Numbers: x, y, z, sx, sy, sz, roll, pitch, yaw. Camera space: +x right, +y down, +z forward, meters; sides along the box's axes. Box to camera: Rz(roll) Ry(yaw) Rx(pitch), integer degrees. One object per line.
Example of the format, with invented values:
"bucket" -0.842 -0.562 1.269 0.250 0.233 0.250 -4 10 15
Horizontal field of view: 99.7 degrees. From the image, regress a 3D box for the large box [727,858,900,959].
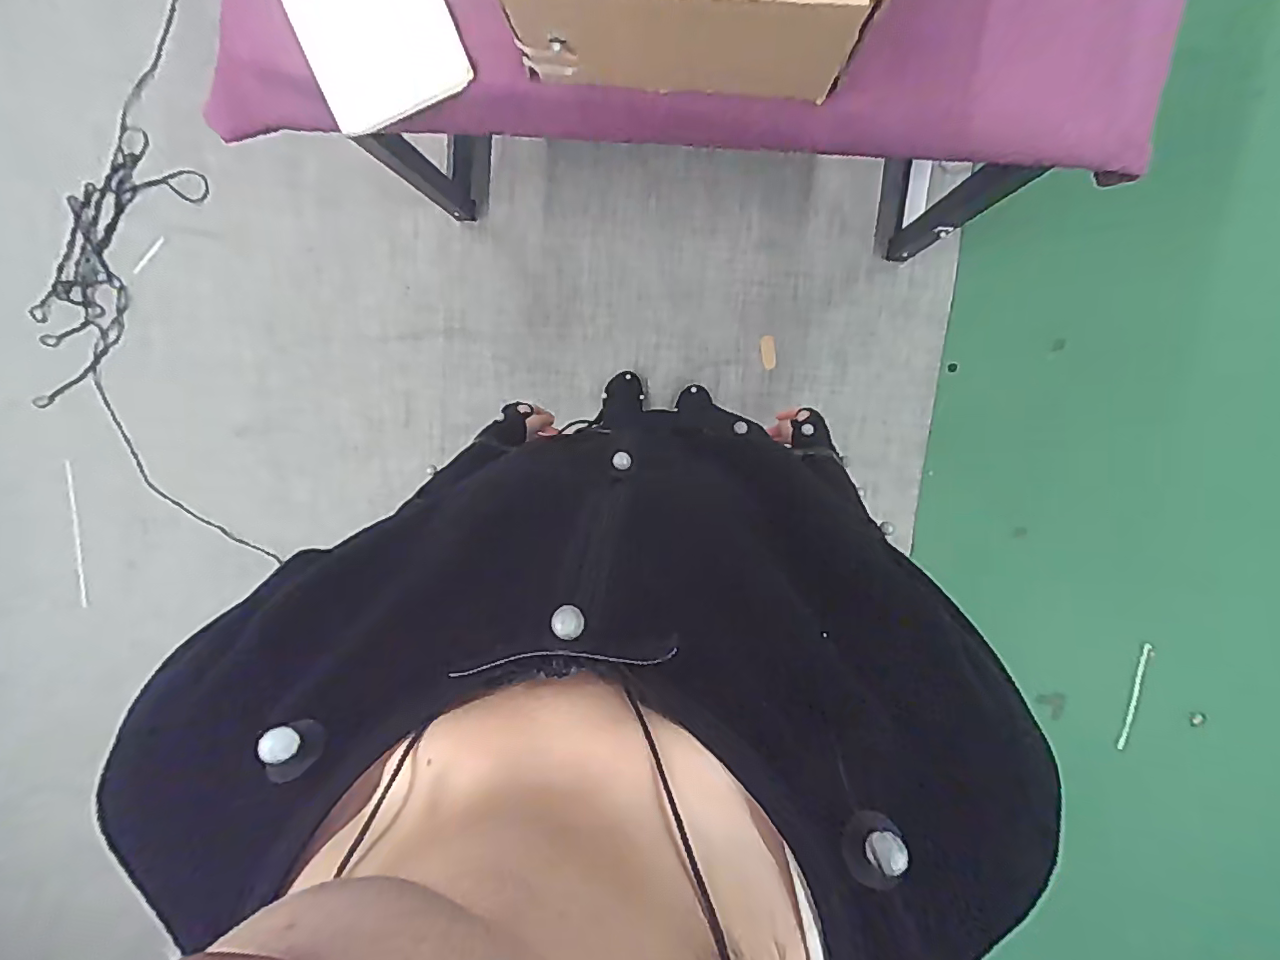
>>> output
"large box" 0.476 1.328 1.508 0.408 0.320 0.320 -9 98 5
